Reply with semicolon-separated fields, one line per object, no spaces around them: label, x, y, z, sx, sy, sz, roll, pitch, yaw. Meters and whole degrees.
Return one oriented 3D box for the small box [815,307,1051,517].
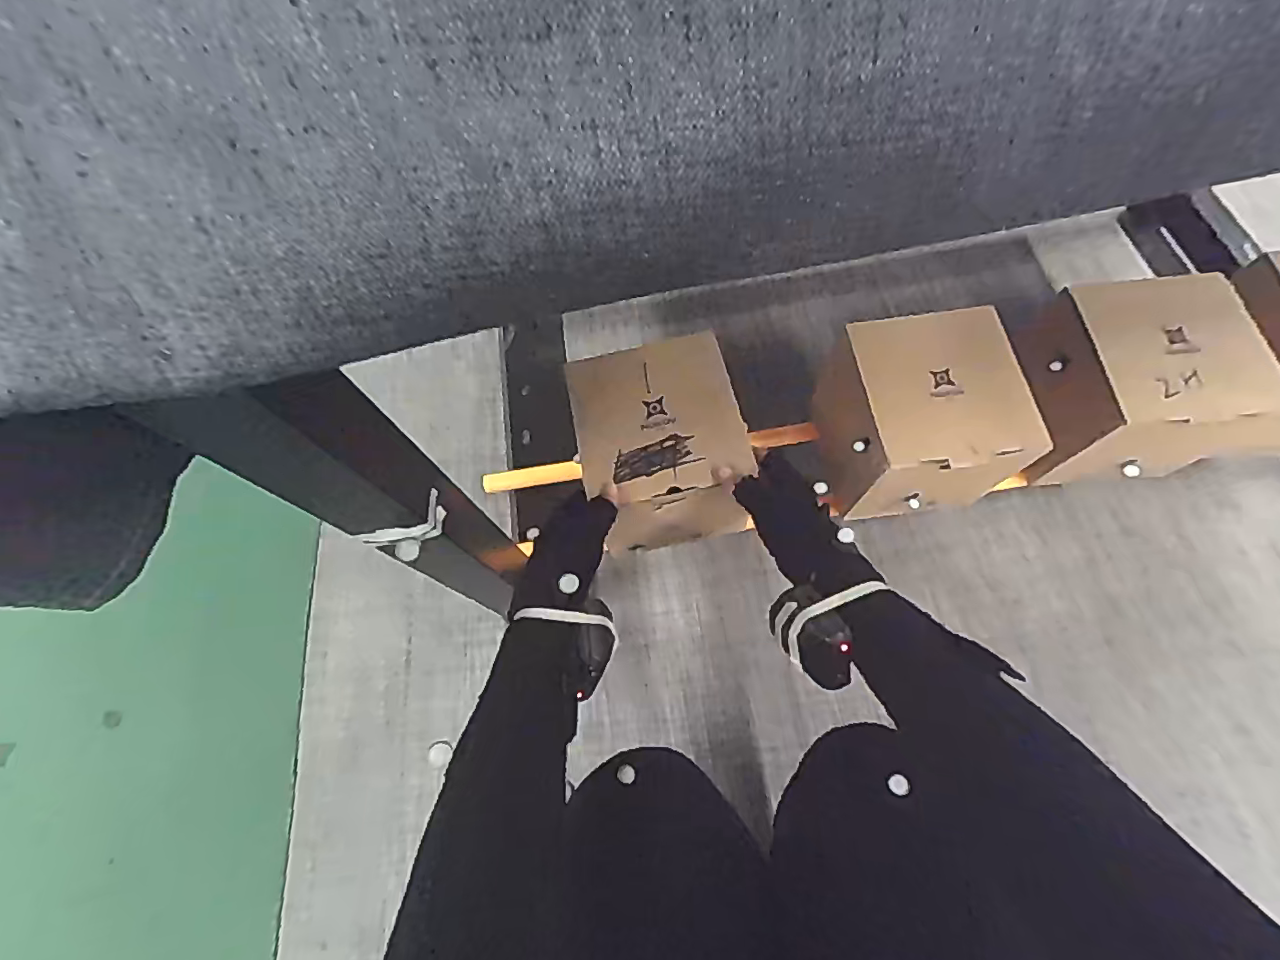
small box;0.317;-0.071;0.633;0.168;0.176;0.179;-7;68;2
